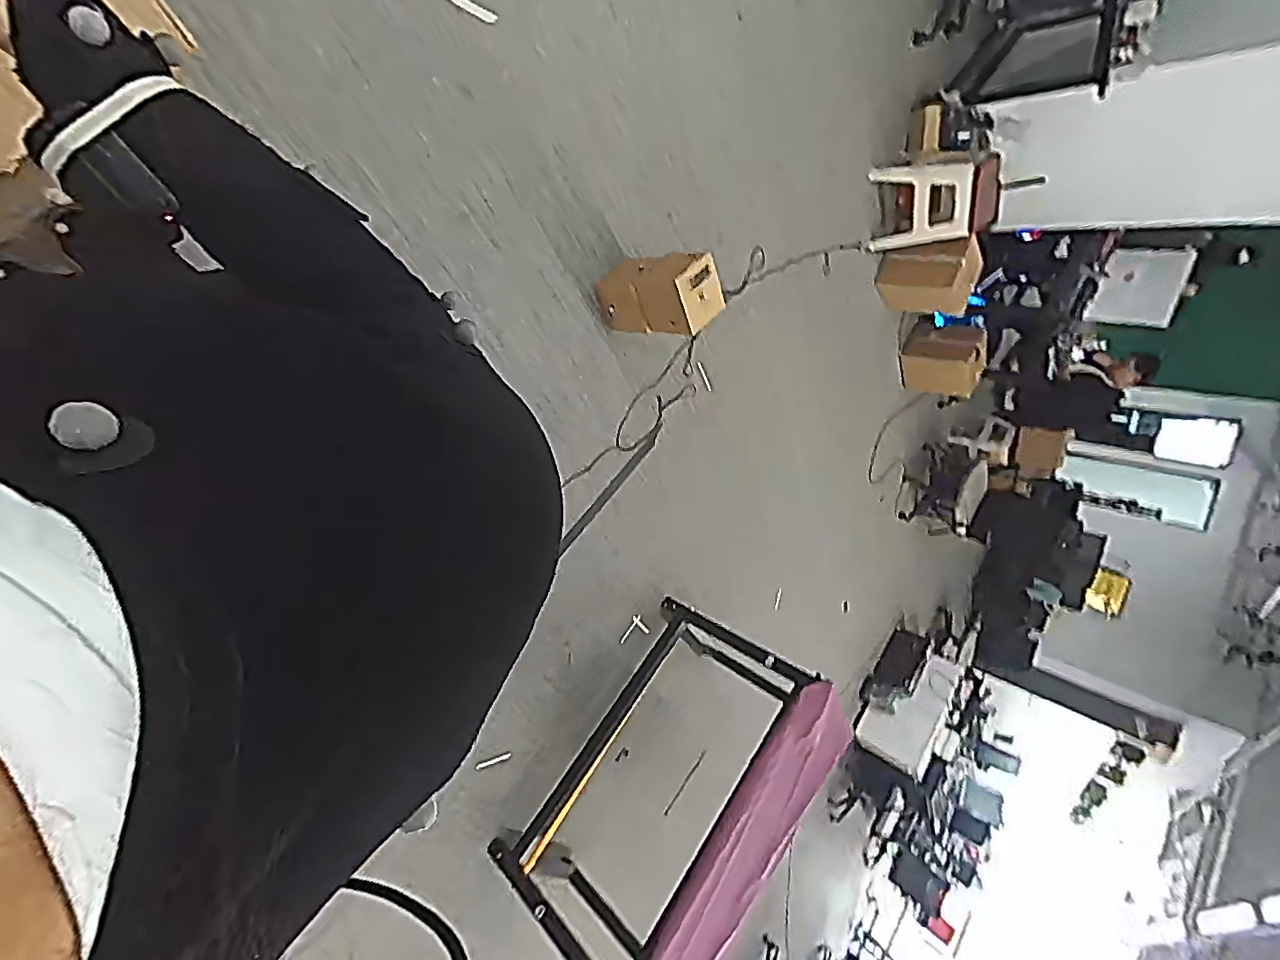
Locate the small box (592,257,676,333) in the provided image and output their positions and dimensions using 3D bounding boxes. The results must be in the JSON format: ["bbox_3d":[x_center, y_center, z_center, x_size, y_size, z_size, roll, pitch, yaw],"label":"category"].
[{"bbox_3d":[-0.019,-0.586,1.704,0.179,0.176,0.168,-45,132,-24],"label":"small box"}]
